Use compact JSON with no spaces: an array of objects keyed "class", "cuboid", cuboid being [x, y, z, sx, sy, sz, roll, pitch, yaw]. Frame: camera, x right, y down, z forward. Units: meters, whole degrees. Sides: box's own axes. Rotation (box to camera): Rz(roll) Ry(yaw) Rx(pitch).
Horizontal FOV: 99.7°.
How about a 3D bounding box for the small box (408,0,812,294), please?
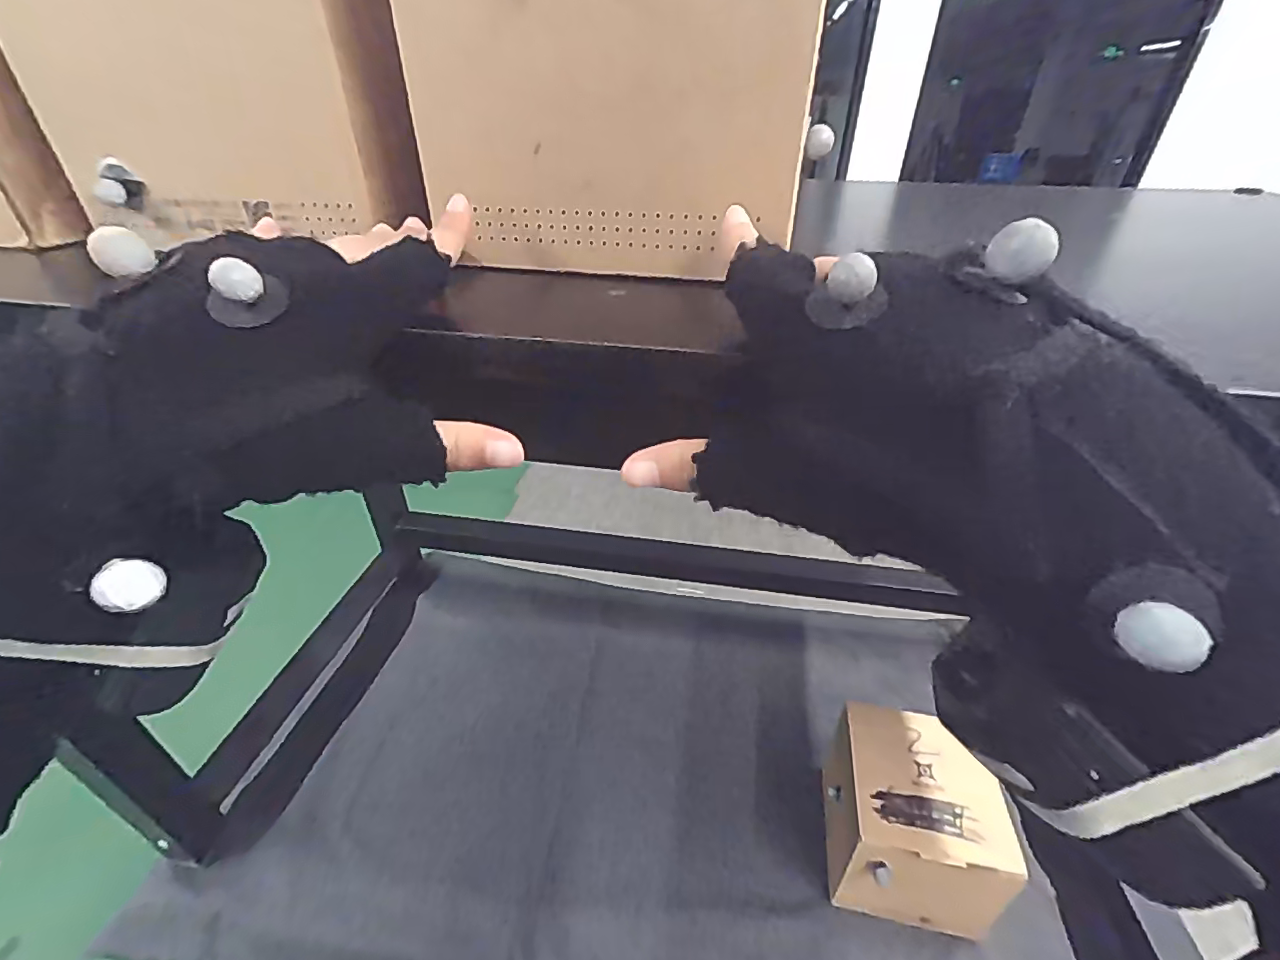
[{"class":"small box","cuboid":[-0.005,-0.206,0.290,0.179,0.176,0.168,8,35,10]}]
